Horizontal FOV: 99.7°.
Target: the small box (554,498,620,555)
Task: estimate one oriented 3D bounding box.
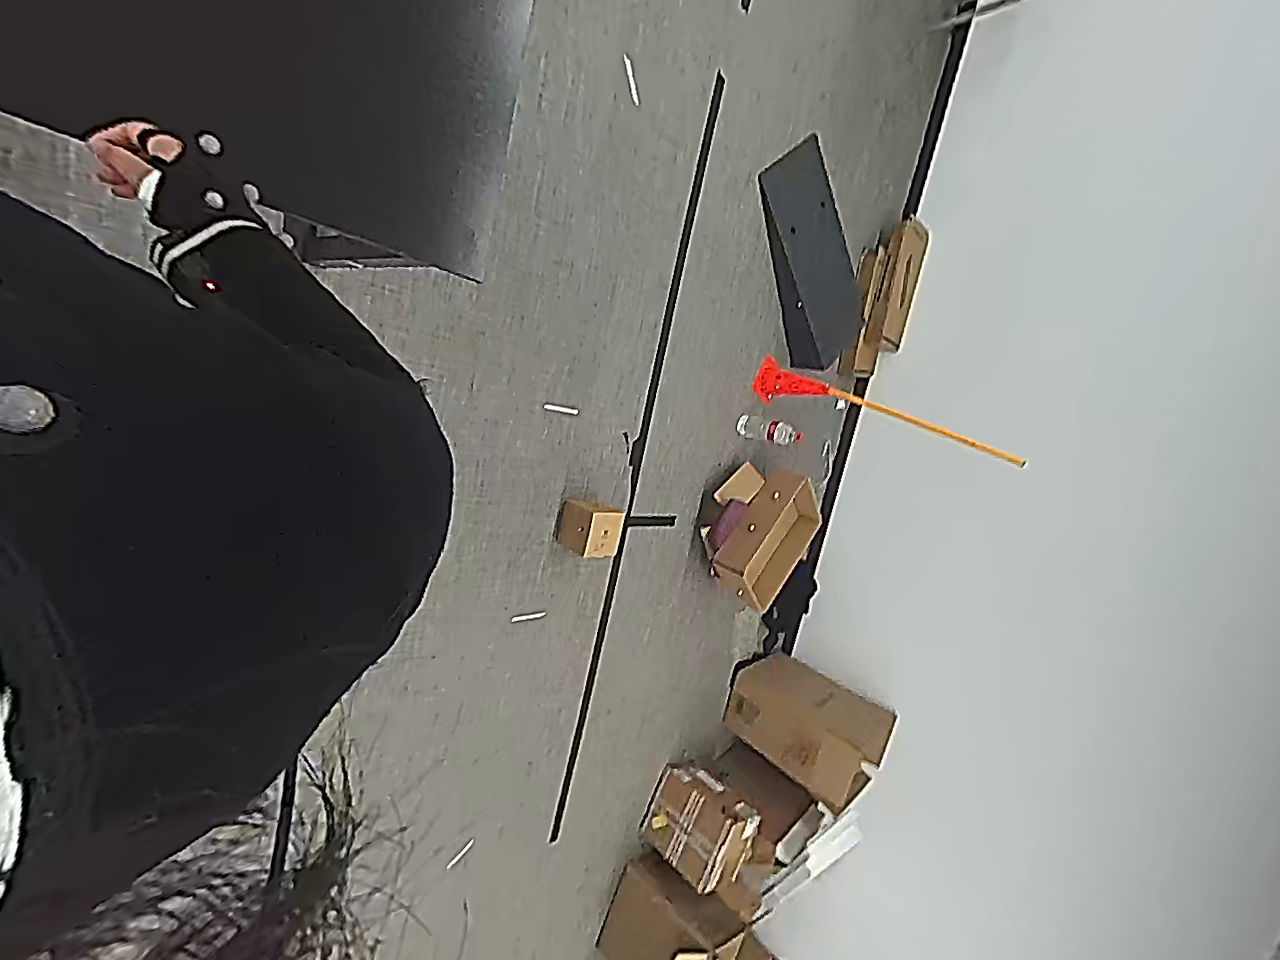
[{"bbox_3d":[-0.204,0.170,2.046,0.168,0.176,0.179,4,103,-47],"label":"small box"}]
